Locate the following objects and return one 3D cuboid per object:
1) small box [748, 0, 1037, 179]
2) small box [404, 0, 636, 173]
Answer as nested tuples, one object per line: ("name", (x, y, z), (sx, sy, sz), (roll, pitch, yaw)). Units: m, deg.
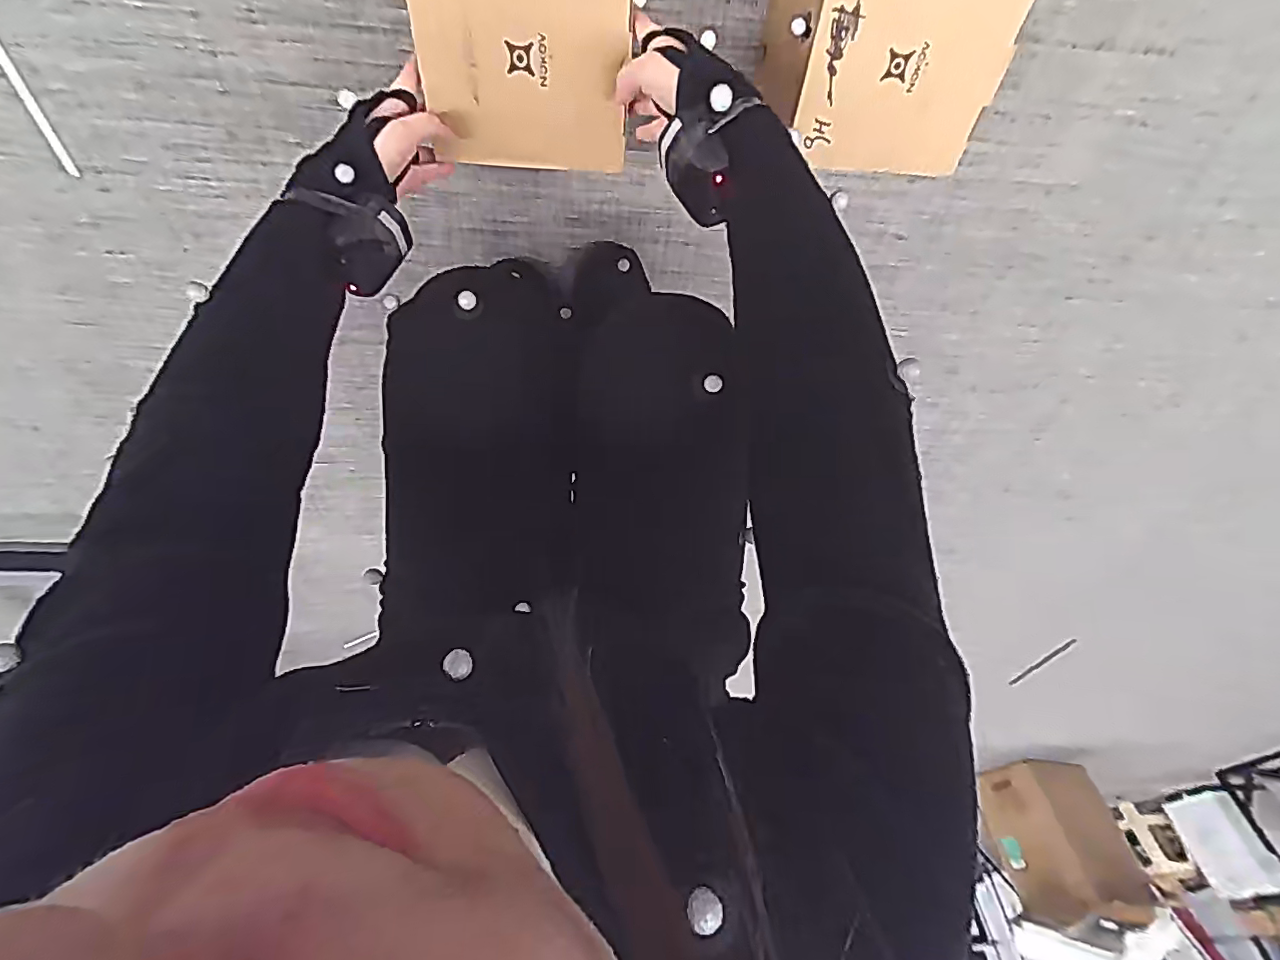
("small box", (0.219, -0.408, 0.511), (0.179, 0.176, 0.168), (0, 138, -7))
("small box", (-0.100, -0.400, 0.487), (0.179, 0.176, 0.168), (1, 137, -6))
